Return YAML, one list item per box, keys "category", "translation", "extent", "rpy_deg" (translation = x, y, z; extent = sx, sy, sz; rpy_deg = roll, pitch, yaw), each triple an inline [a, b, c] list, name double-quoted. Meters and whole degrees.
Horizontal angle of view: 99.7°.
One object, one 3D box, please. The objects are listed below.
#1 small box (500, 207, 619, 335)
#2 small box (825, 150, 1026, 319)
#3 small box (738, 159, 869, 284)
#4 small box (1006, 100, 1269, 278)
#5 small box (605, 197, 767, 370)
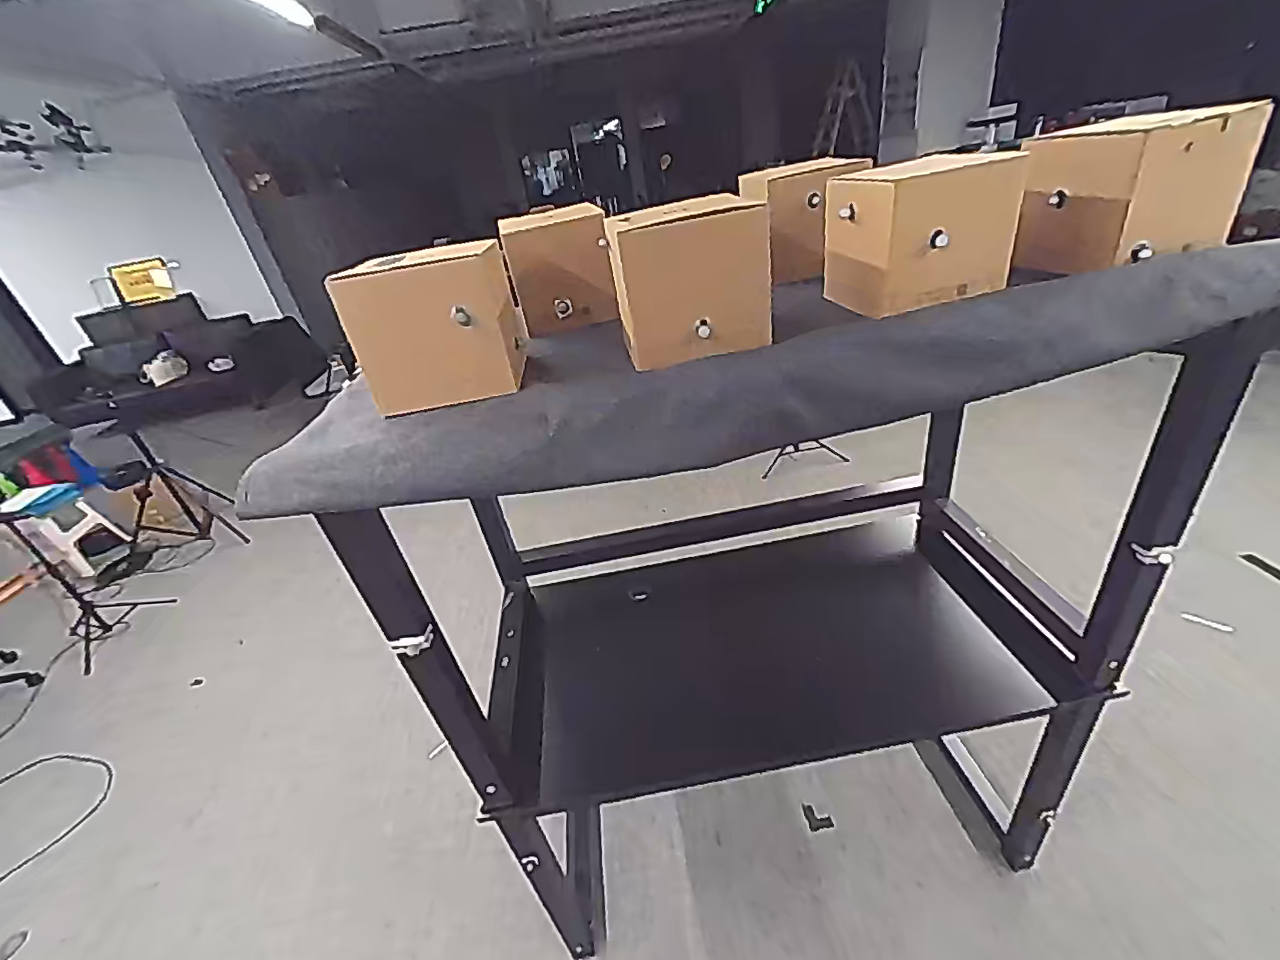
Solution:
- category: "small box"
  translation: [-0.137, -0.362, 0.935]
  extent: [0.168, 0.176, 0.179]
  rpy_deg: [-16, 31, -6]
- category: "small box"
  translation: [0.360, -0.322, 0.717]
  extent: [0.168, 0.176, 0.179]
  rpy_deg: [-12, 30, -3]
- category: "small box"
  translation: [0.285, -0.459, 0.961]
  extent: [0.179, 0.176, 0.168]
  rpy_deg: [-11, 32, -1]
- category: "small box"
  translation: [0.630, -0.375, 0.714]
  extent: [0.168, 0.176, 0.179]
  rpy_deg: [-14, 30, -5]
- category: "small box"
  translation: [0.057, -0.259, 0.707]
  extent: [0.179, 0.176, 0.168]
  rpy_deg: [-11, 30, -2]
